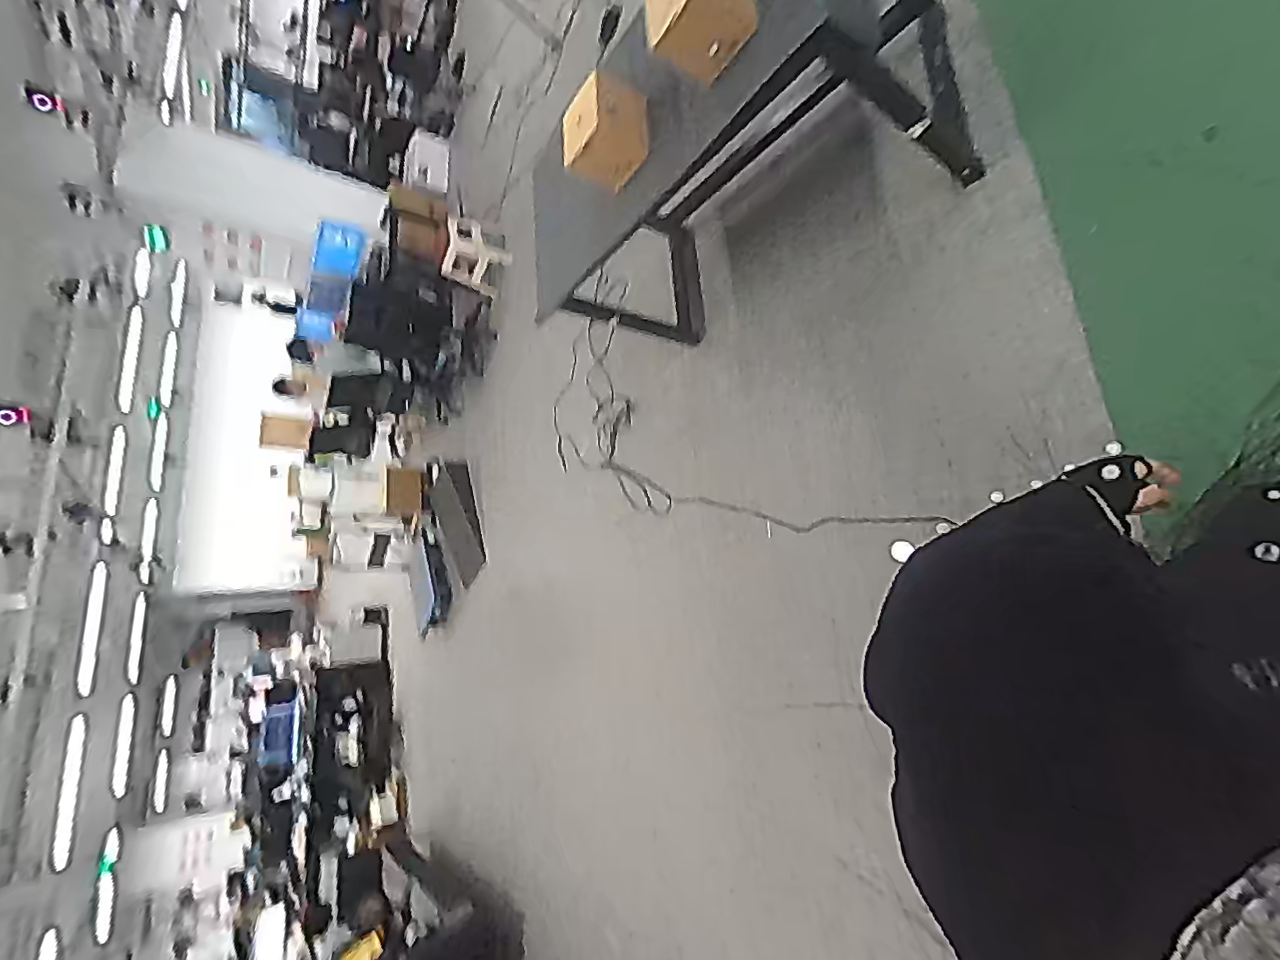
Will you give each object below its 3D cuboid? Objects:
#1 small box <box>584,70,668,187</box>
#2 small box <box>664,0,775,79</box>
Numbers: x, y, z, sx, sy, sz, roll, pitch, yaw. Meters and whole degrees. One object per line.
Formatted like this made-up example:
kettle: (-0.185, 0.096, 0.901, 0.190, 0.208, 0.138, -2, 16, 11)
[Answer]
small box: (-0.039, -0.948, 1.478, 0.168, 0.176, 0.179, -21, 69, 52)
small box: (0.171, -1.034, 1.176, 0.168, 0.176, 0.179, -24, 66, 53)
